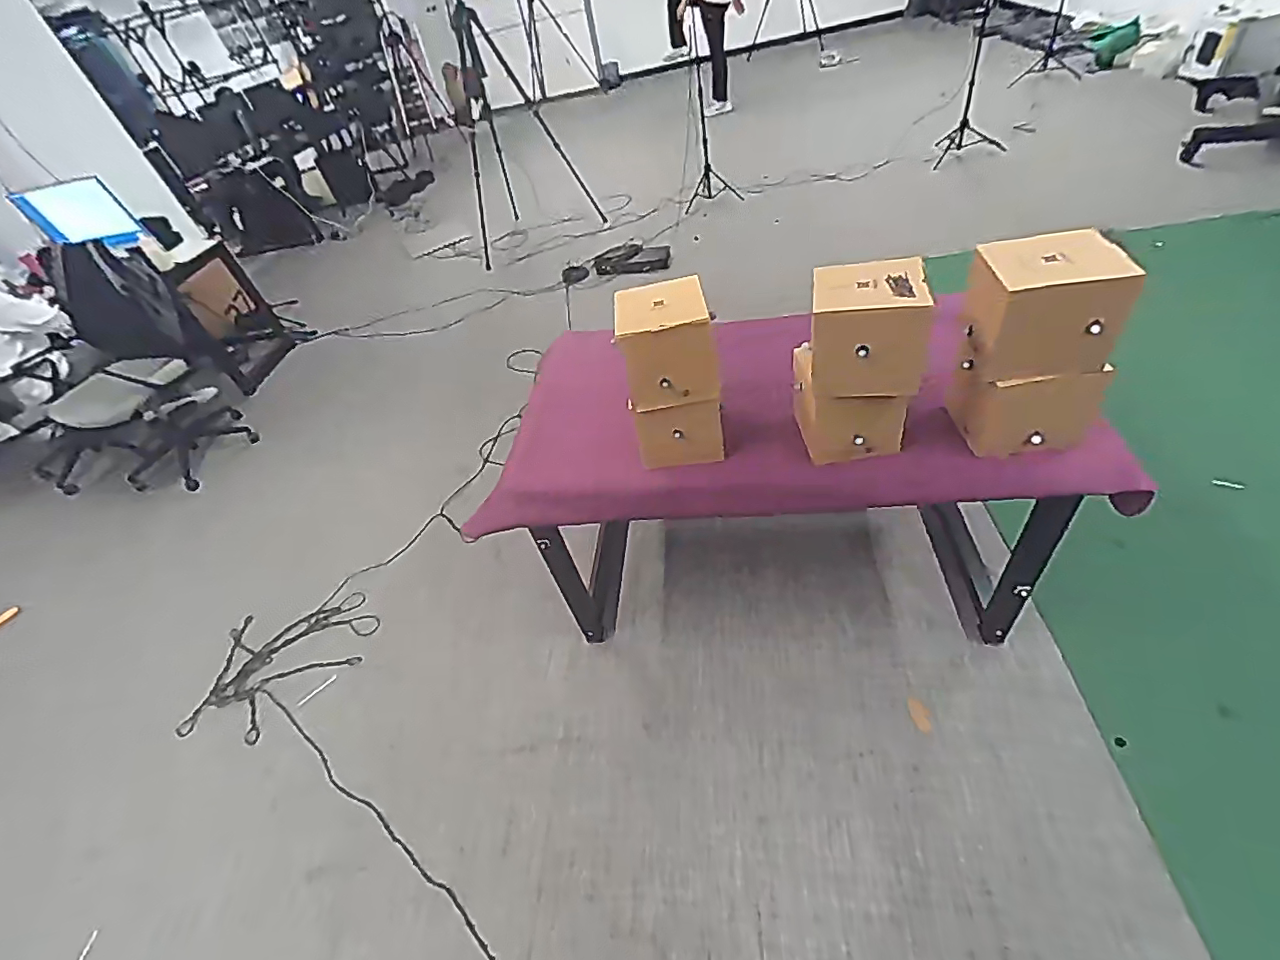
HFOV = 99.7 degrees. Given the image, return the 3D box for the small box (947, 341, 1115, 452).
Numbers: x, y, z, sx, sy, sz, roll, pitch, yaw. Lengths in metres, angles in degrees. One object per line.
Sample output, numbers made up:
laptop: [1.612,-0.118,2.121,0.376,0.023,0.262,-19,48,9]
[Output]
small box: [0.695,-0.171,0.987,0.179,0.176,0.168,-7,44,10]

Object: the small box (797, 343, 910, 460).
small box: [0.408,-0.164,1.065,0.168,0.176,0.179,-9,44,8]

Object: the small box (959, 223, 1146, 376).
small box: [0.651,-0.288,0.882,0.179,0.176,0.168,-4,45,14]

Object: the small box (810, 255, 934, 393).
small box: [0.389,-0.263,0.932,0.179,0.176,0.168,1,45,18]
